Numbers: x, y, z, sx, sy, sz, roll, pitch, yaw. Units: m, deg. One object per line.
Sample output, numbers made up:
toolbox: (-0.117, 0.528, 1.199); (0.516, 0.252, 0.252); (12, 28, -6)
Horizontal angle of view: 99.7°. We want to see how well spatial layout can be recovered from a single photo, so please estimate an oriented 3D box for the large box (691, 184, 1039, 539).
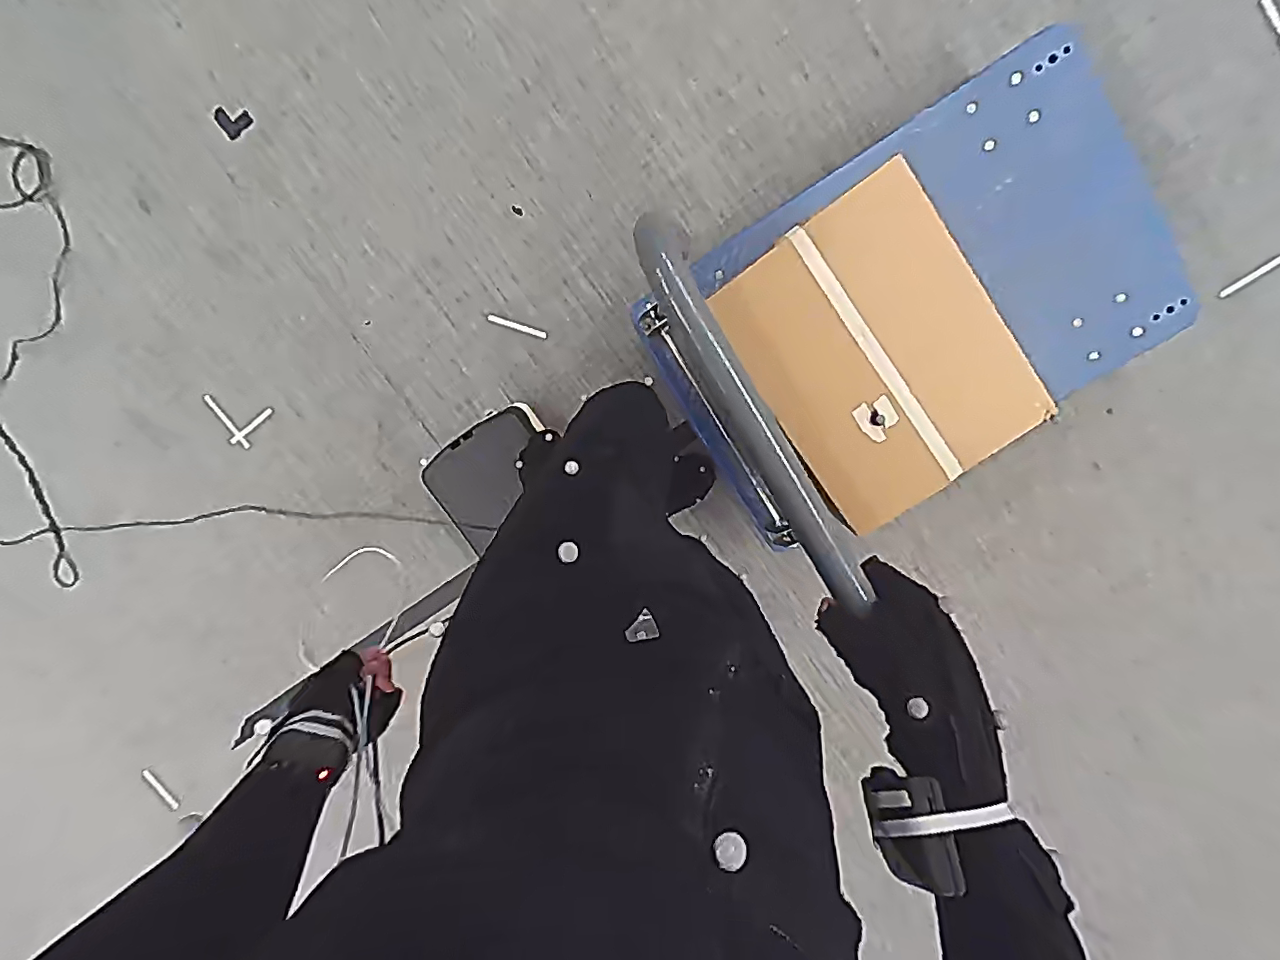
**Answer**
large box: (0.328, -0.180, 0.902); (0.320, 0.320, 0.408); (-35, 97, 9)
